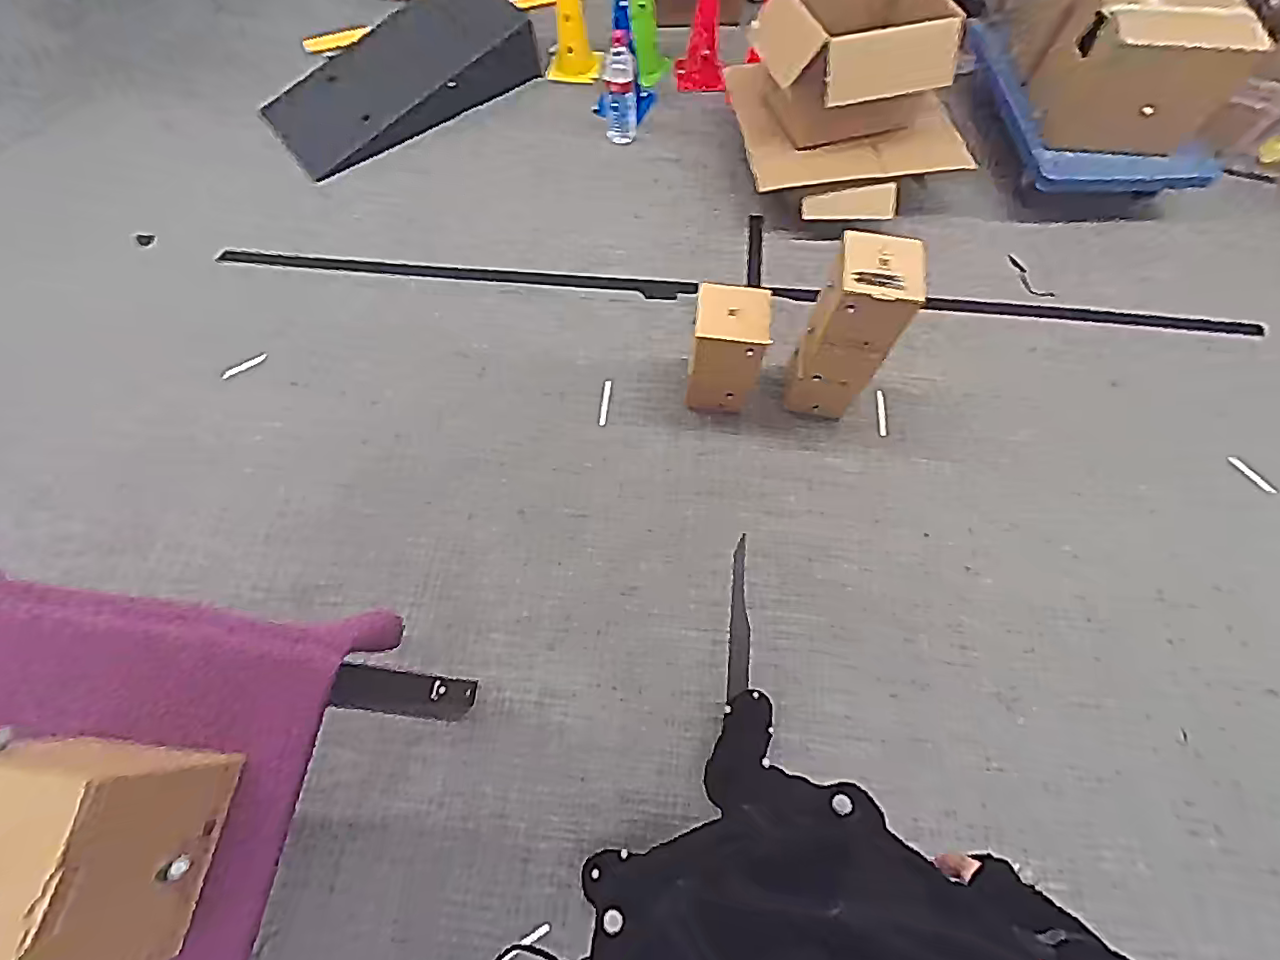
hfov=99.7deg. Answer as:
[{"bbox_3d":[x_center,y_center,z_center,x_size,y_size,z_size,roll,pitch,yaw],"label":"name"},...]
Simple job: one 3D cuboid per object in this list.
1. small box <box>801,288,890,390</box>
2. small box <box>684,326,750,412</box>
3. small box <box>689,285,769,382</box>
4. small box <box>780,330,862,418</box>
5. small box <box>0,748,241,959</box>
[{"bbox_3d":[0.511,-0.349,1.359,0.168,0.176,0.179,9,67,3],"label":"small box"},{"bbox_3d":[0.215,-0.307,1.517,0.168,0.176,0.179,5,66,0],"label":"small box"},{"bbox_3d":[0.220,-0.363,1.364,0.179,0.176,0.168,6,67,0],"label":"small box"},{"bbox_3d":[0.506,-0.290,1.513,0.179,0.176,0.168,10,68,3],"label":"small box"},{"bbox_3d":[-0.491,0.322,0.443,0.179,0.176,0.168,5,68,2],"label":"small box"}]
